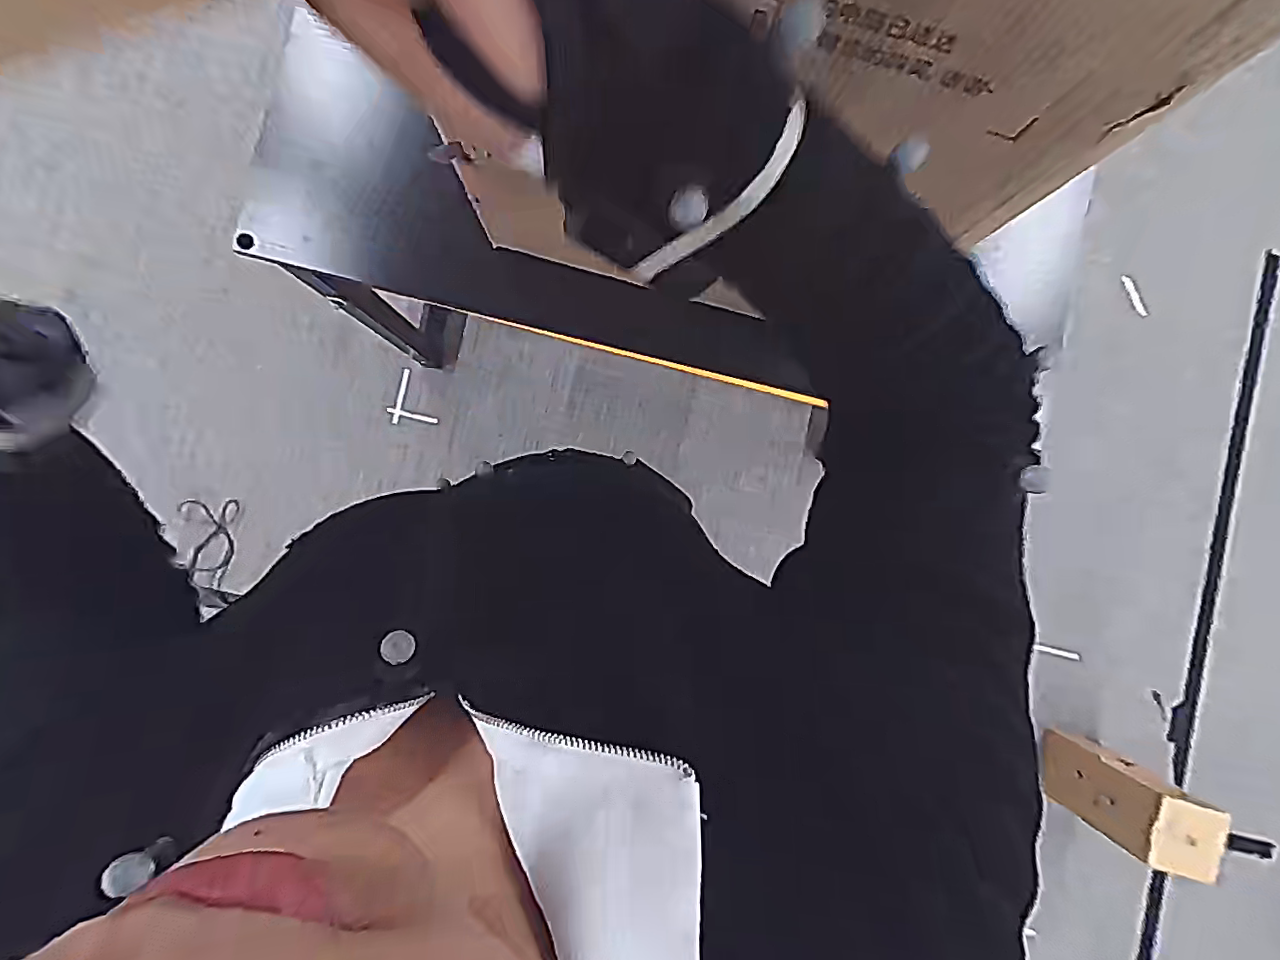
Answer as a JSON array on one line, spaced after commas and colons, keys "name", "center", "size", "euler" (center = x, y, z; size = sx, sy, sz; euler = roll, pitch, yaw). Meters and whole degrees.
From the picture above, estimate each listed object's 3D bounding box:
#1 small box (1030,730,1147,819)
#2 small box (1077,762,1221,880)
[{"name": "small box", "center": [1.232, 0.827, 1.500], "size": [0.168, 0.176, 0.179], "euler": [18, 88, -3]}, {"name": "small box", "center": [1.247, 0.832, 1.336], "size": [0.179, 0.176, 0.168], "euler": [17, 88, -3]}]
